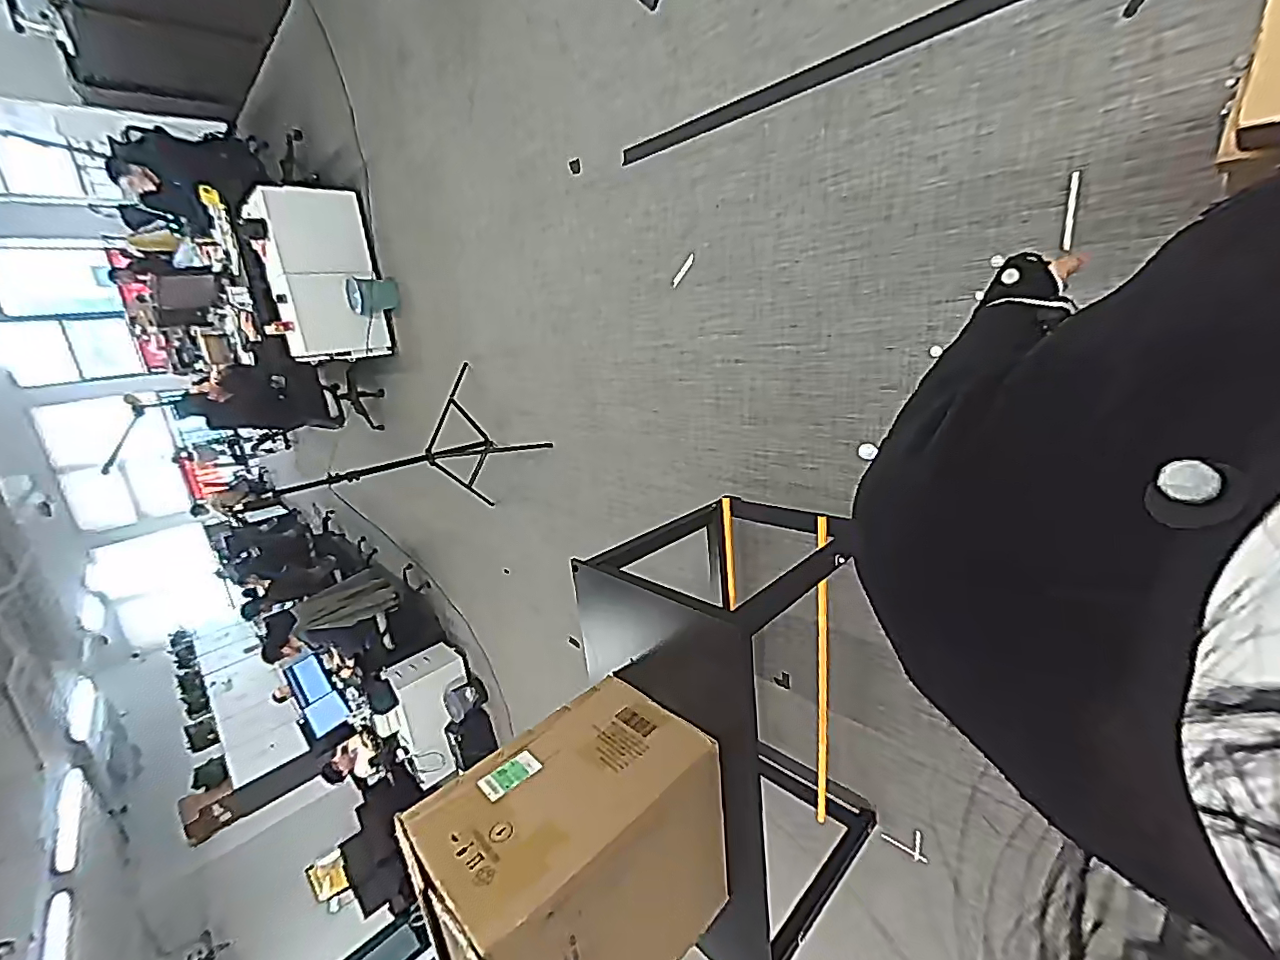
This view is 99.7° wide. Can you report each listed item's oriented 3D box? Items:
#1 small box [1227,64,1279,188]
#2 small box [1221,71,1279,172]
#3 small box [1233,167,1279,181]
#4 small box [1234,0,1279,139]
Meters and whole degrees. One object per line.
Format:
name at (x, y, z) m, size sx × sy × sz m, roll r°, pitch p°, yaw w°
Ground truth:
small box at (1.042, -0.565, 0.831) m, size 0.179 × 0.176 × 0.168 m, roll 7°, pitch 111°, yaw 46°
small box at (0.812, -0.469, 0.620) m, size 0.168 × 0.176 × 0.179 m, roll 19°, pitch 121°, yaw 43°
small box at (0.928, -0.520, 0.722) m, size 0.168 × 0.176 × 0.179 m, roll 12°, pitch 115°, yaw 45°
small box at (0.700, -0.437, 0.503) m, size 0.168 × 0.176 × 0.179 m, roll 15°, pitch 117°, yaw 45°
